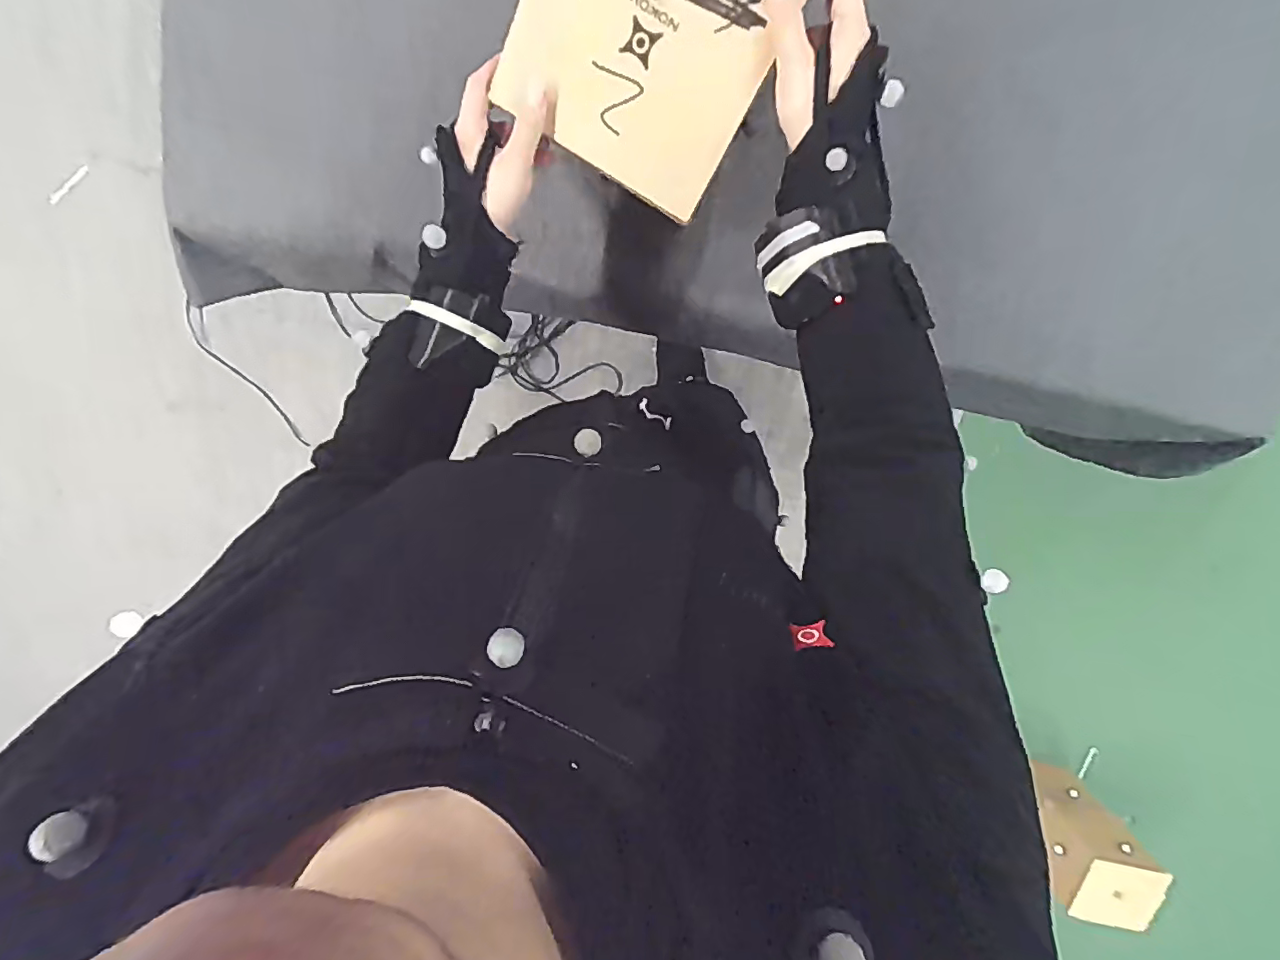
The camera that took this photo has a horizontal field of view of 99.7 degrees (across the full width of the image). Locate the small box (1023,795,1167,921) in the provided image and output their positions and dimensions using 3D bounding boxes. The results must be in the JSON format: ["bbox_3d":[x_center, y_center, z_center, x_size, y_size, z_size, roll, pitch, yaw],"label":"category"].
[{"bbox_3d":[1.065,0.888,1.285,0.179,0.176,0.168,11,104,0],"label":"small box"}]

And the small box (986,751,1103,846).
[{"bbox_3d":[1.078,0.858,1.445,0.179,0.176,0.168,12,104,2],"label":"small box"}]
